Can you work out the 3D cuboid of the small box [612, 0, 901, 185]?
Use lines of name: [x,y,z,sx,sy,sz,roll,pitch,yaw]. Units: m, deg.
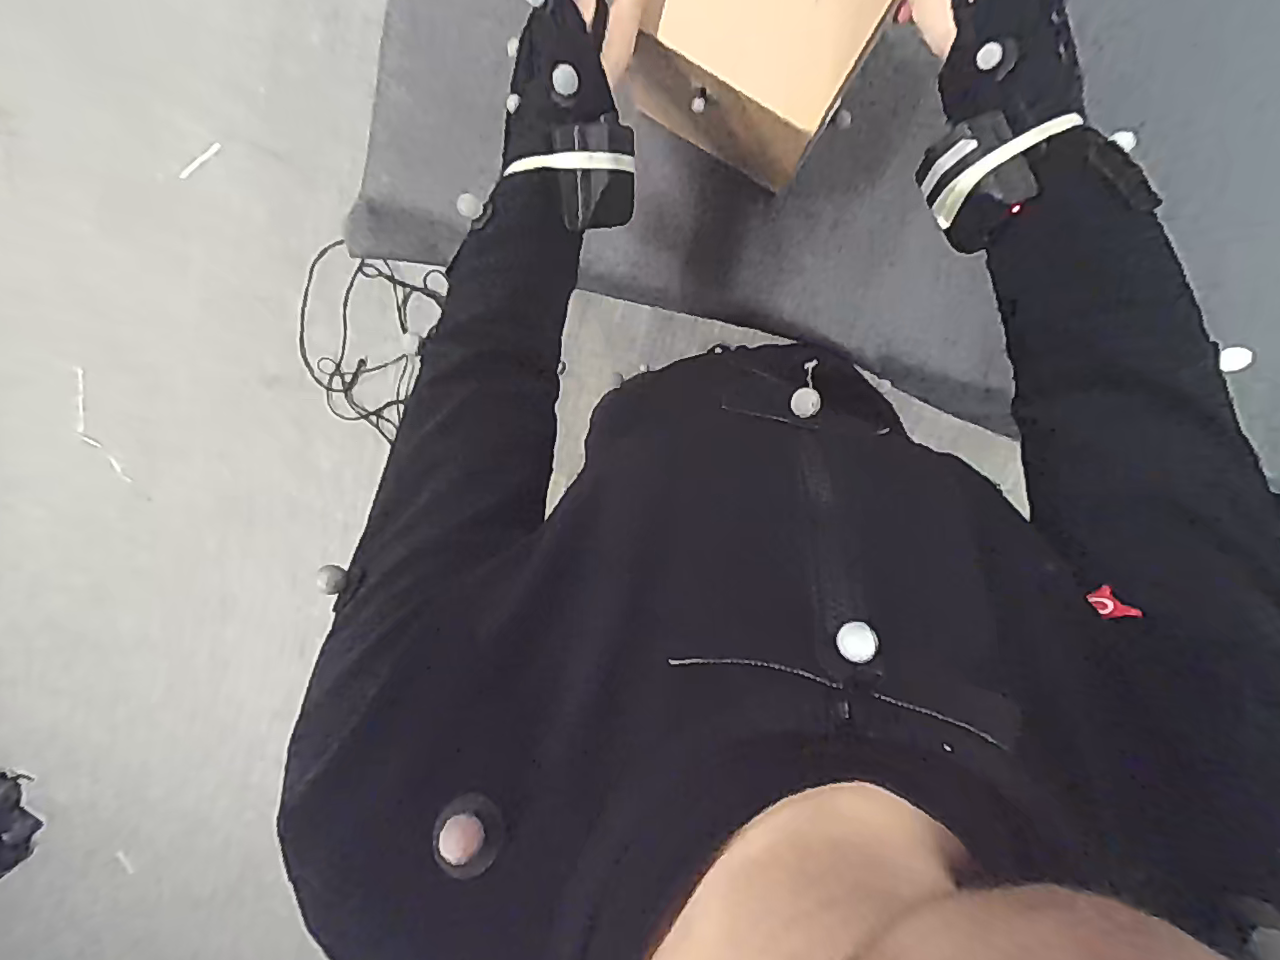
small box: [0.102,-0.377,0.444,0.179,0.176,0.168,30,106,-1]
